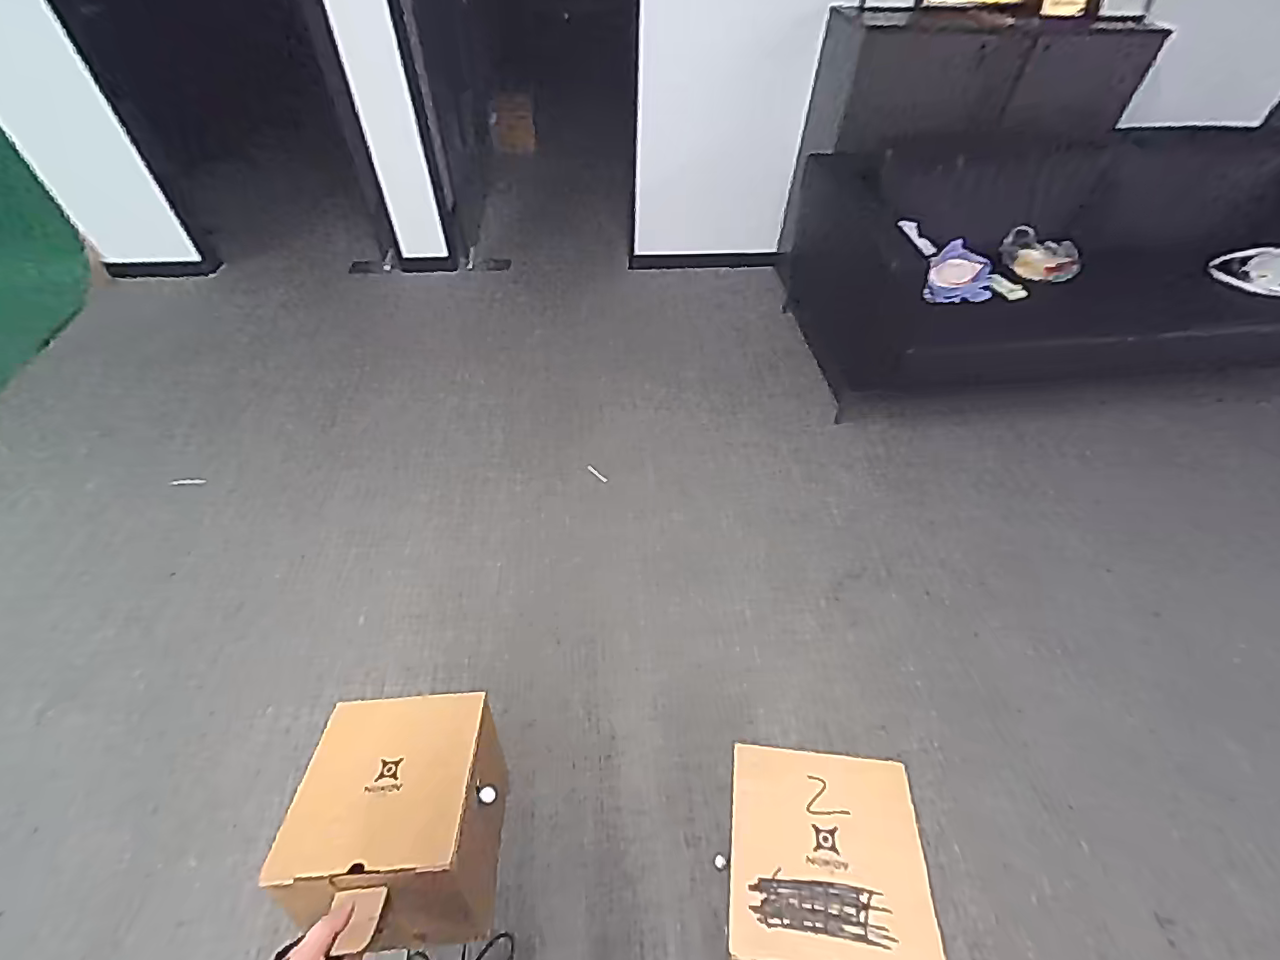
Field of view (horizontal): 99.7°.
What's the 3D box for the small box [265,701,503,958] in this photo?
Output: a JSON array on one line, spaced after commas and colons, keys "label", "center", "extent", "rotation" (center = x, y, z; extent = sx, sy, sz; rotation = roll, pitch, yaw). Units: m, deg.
[{"label": "small box", "center": [-0.250, 0.369, 0.583], "extent": [0.168, 0.176, 0.179], "rotation": [-3, 33, -3]}]
